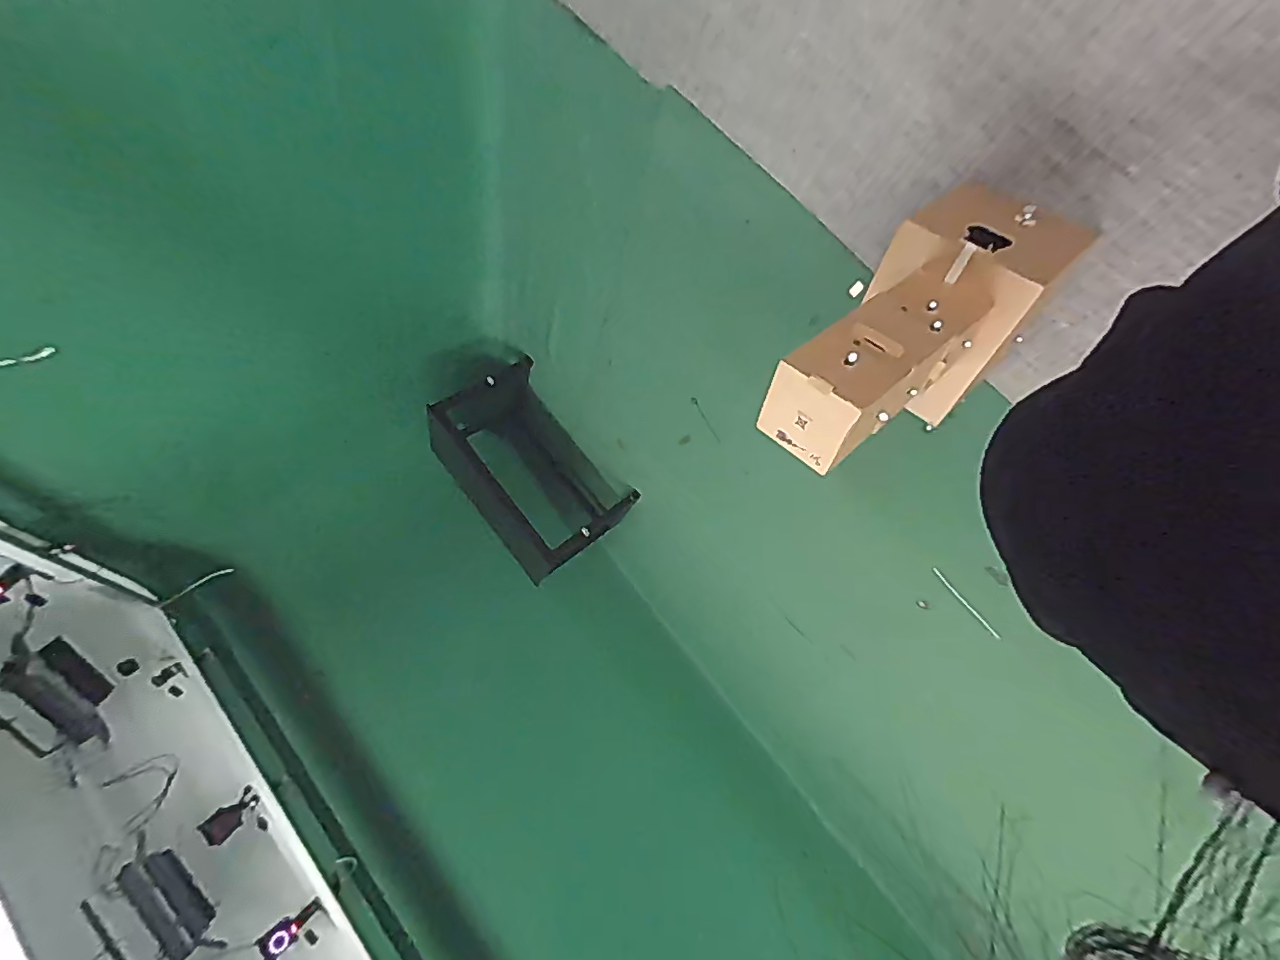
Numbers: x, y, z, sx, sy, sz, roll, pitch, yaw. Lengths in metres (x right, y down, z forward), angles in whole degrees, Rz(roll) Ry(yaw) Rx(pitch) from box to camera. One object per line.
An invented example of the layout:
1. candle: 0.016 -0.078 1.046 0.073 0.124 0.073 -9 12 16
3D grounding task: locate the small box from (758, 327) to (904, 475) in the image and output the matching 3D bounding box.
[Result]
1. small box: 0.350 -0.150 0.992 0.168 0.176 0.179 42 149 23

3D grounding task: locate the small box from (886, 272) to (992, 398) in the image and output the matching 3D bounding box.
1. small box: 0.593 -0.312 1.143 0.179 0.176 0.168 43 150 23

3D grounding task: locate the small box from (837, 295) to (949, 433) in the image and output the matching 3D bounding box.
1. small box: 0.472 -0.234 1.066 0.168 0.176 0.179 42 150 24

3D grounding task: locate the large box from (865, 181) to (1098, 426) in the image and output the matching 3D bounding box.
1. large box: 0.758 -0.419 1.294 0.320 0.320 0.408 43 152 24
